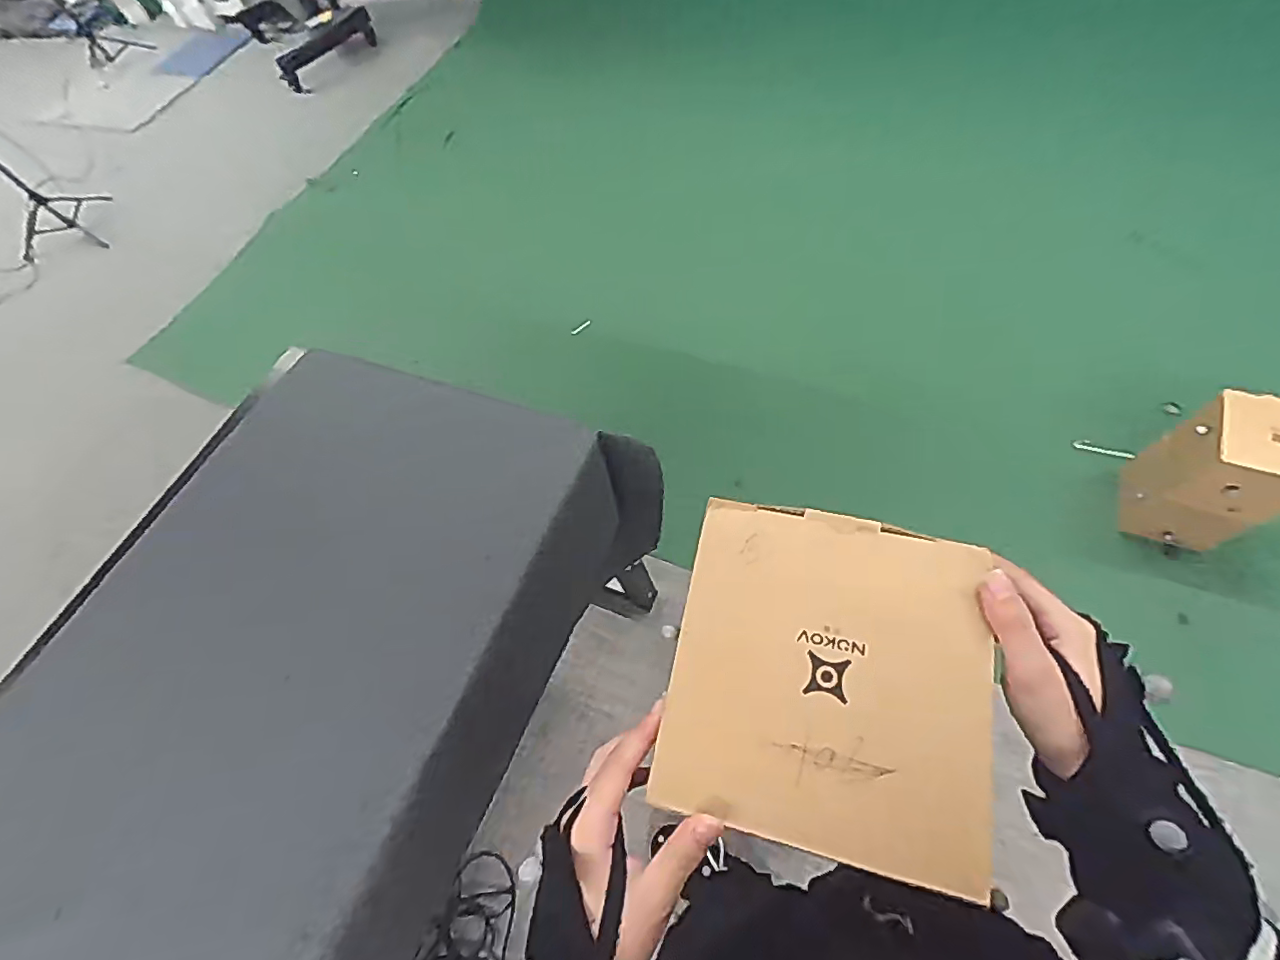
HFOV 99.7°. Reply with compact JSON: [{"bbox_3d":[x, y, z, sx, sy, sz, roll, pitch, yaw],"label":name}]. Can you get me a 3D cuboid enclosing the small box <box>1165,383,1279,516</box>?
[{"bbox_3d":[1.170,-0.053,1.046,0.168,0.176,0.179,19,67,20],"label":"small box"}]
